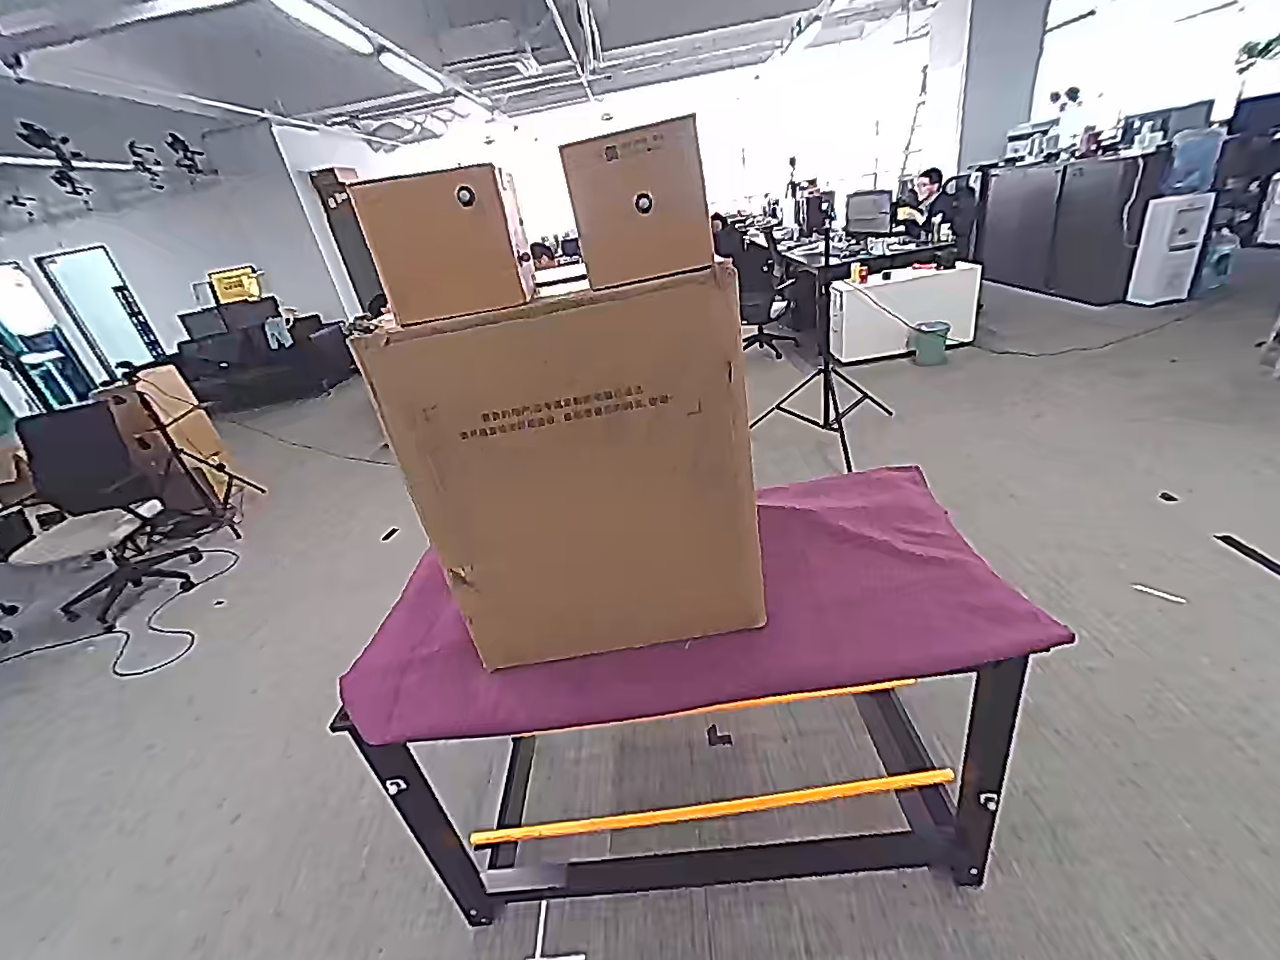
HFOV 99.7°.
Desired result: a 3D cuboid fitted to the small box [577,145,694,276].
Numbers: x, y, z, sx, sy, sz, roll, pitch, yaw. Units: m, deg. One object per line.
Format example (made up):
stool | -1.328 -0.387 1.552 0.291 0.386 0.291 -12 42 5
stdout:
small box | -0.002 -0.456 0.930 0.168 0.176 0.179 -10 27 5
